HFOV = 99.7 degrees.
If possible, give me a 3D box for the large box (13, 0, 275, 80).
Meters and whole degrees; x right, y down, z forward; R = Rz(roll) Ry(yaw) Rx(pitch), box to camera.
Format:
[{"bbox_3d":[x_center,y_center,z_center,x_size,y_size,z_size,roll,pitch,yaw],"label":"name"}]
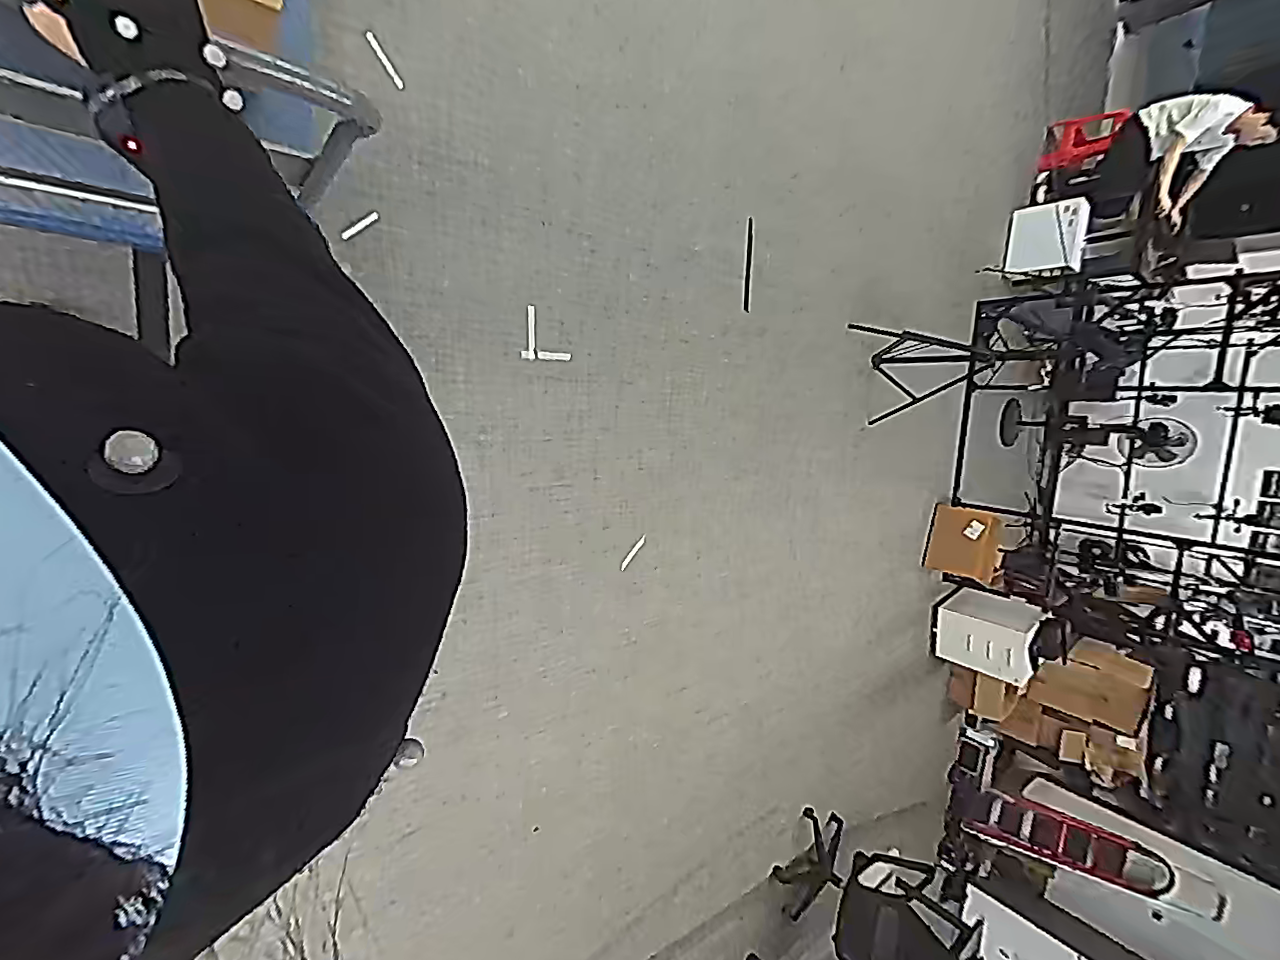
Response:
[{"bbox_3d":[-0.777,-0.869,0.769,0.408,0.320,0.320,-3,99,-39],"label":"large box"}]
